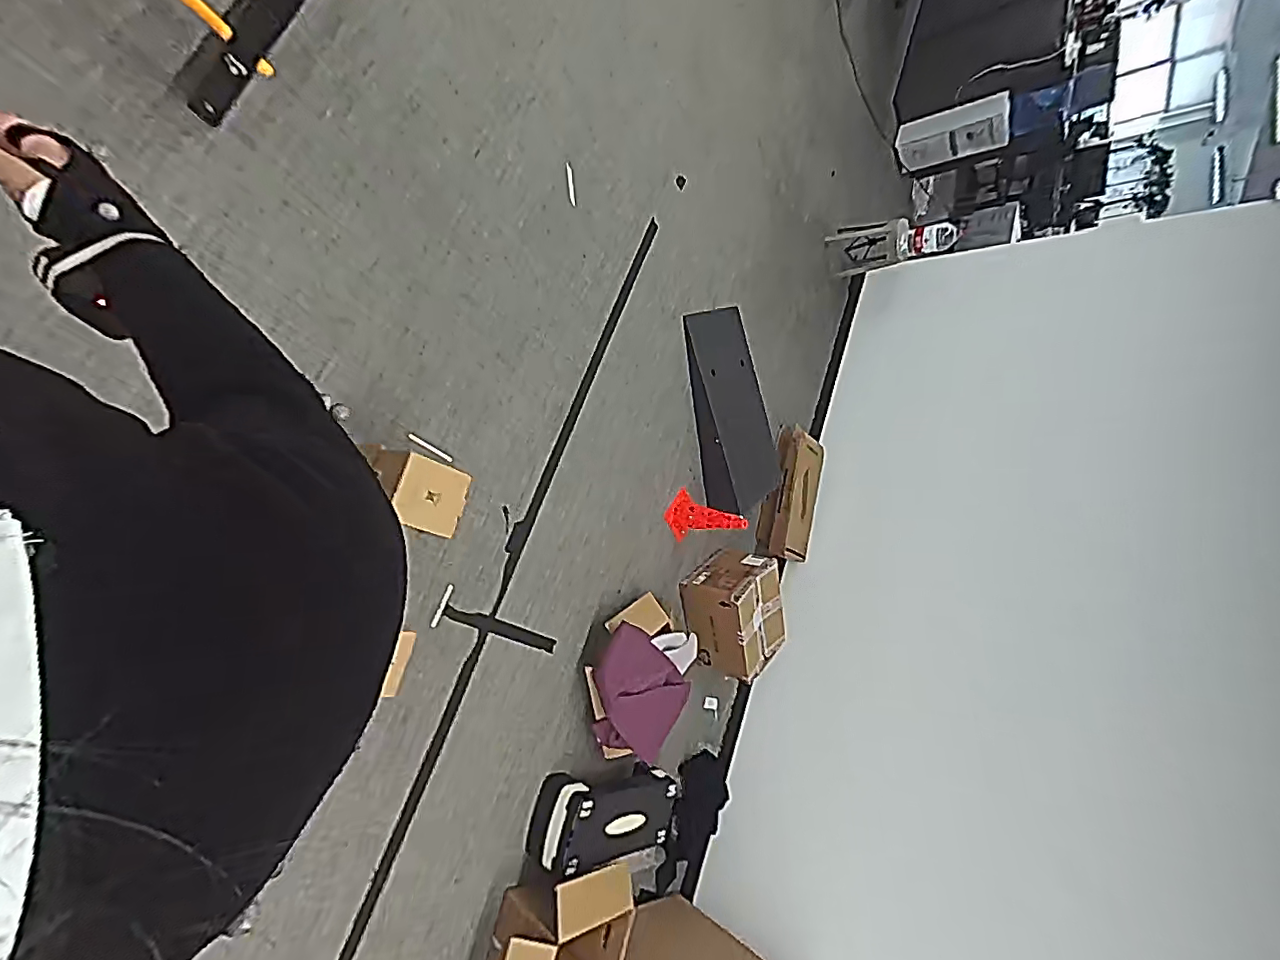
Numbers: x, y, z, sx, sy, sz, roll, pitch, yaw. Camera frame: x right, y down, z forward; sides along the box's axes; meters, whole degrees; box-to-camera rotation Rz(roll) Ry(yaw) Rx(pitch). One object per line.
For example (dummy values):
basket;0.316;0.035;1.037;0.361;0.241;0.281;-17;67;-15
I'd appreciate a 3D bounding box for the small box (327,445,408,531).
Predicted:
small box;-0.689;0.017;1.428;0.168;0.176;0.179;34;69;-46

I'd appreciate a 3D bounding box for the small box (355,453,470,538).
small box;-0.559;0.035;1.331;0.179;0.176;0.168;29;71;-46

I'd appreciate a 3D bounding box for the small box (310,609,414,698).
small box;-0.738;0.457;1.427;0.168;0.176;0.179;30;72;-47
